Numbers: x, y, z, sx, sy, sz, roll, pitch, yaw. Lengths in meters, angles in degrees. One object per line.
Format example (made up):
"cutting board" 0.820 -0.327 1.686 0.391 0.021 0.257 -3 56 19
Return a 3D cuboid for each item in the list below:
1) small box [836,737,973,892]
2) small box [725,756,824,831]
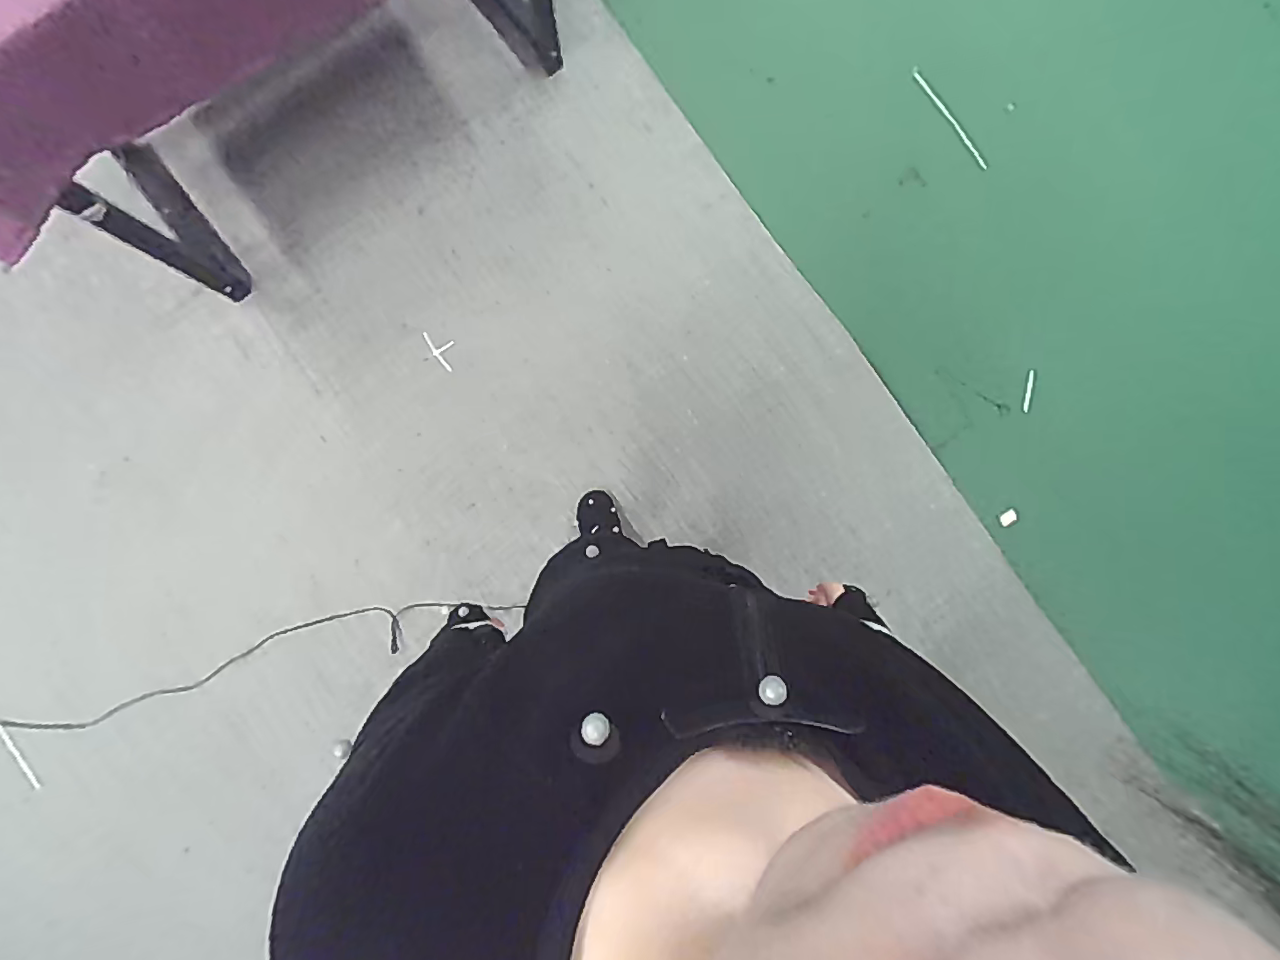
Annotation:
"small box" 0.536 0.669 1.103 0.168 0.176 0.179 -29 90 -4
"small box" 0.290 0.693 1.094 0.168 0.176 0.179 -28 90 -1
